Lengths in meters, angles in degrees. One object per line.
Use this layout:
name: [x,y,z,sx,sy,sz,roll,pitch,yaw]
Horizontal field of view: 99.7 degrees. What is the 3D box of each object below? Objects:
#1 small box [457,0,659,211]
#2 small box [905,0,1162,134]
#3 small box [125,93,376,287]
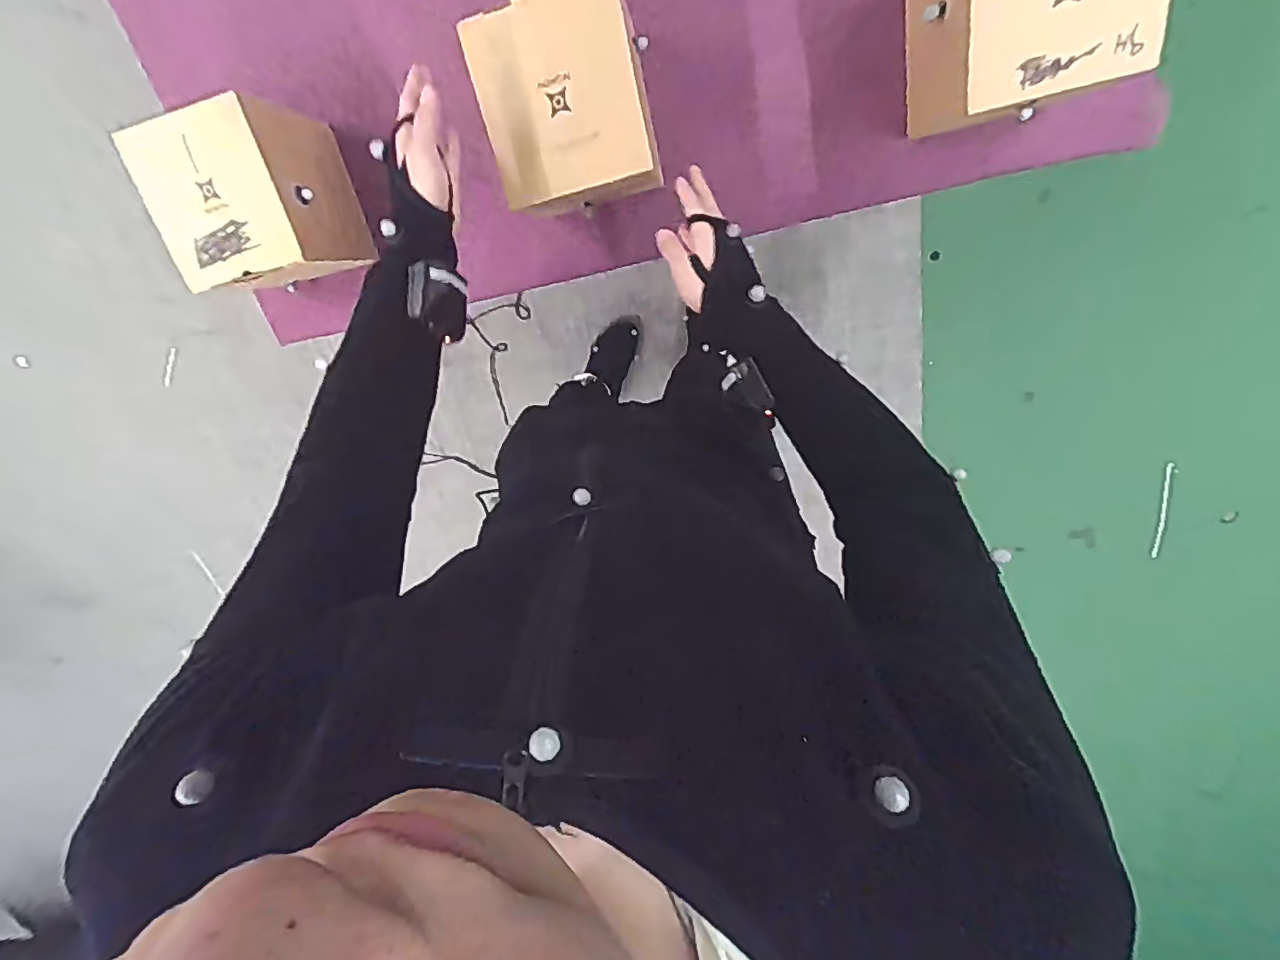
small box: [-0.079,-0.429,0.630,0.168,0.176,0.179,-9,113,12]
small box: [0.379,-0.479,0.546,0.168,0.176,0.179,-8,114,12]
small box: [-0.484,-0.365,0.707,0.168,0.176,0.179,-10,112,11]
